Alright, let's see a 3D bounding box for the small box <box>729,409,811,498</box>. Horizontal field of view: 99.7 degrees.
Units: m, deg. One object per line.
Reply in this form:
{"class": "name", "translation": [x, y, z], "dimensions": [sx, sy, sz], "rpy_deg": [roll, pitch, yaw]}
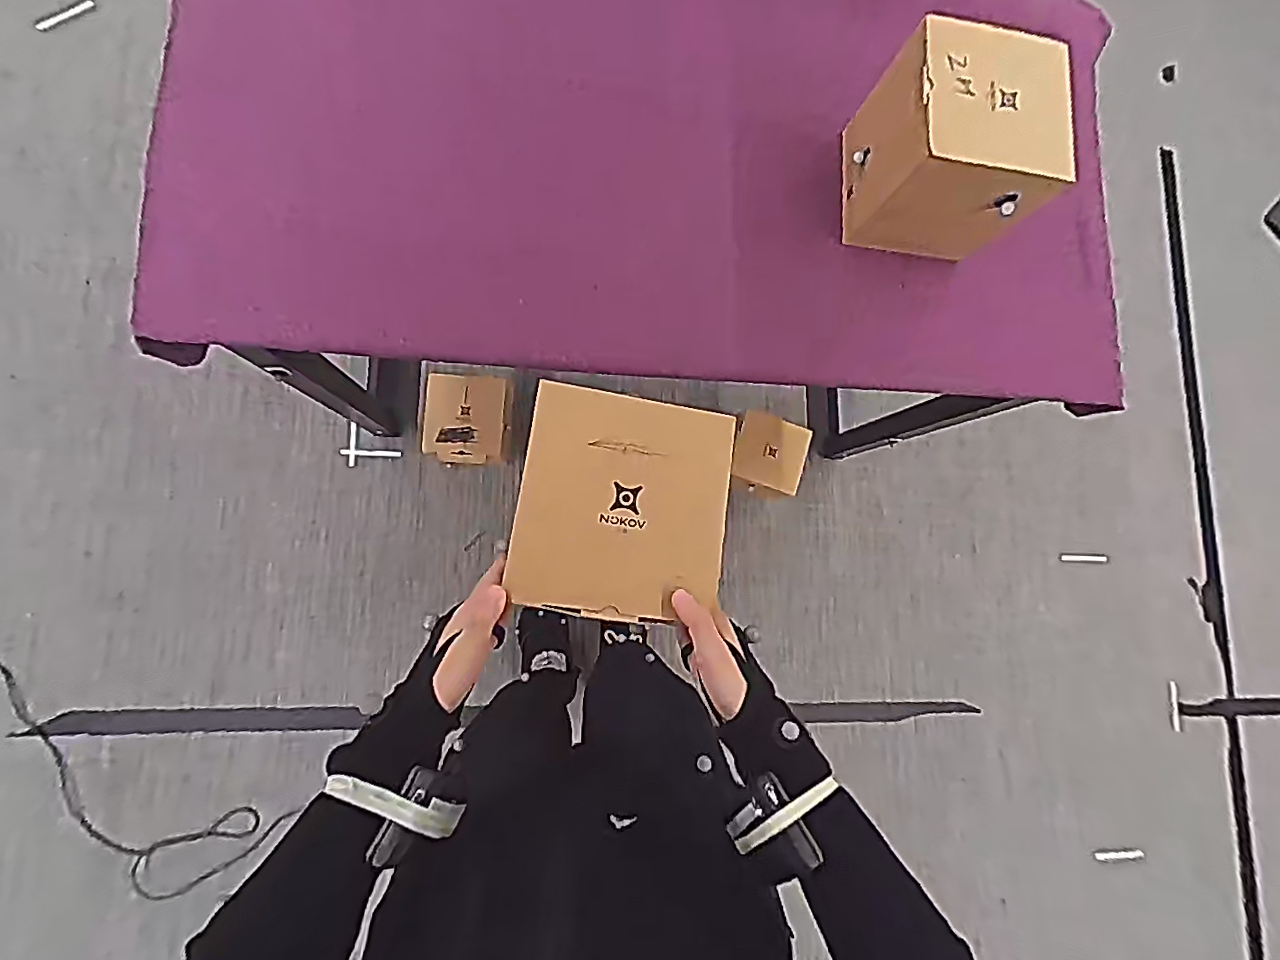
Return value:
{"class": "small box", "translation": [0.291, -0.058, 1.345], "dimensions": [0.179, 0.176, 0.168], "rpy_deg": [19, 82, -6]}

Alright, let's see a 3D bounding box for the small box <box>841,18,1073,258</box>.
{"class": "small box", "translation": [0.367, -0.390, 0.649], "dimensions": [0.179, 0.176, 0.168], "rpy_deg": [4, 82, -8]}

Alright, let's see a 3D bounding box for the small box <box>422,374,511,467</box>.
{"class": "small box", "translation": [-0.389, -0.128, 1.239], "dimensions": [0.168, 0.176, 0.179], "rpy_deg": [3, 82, -9]}

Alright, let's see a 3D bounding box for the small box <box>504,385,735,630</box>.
{"class": "small box", "translation": [-0.025, 0.035, 0.501], "dimensions": [0.168, 0.176, 0.179], "rpy_deg": [9, 78, -10]}
